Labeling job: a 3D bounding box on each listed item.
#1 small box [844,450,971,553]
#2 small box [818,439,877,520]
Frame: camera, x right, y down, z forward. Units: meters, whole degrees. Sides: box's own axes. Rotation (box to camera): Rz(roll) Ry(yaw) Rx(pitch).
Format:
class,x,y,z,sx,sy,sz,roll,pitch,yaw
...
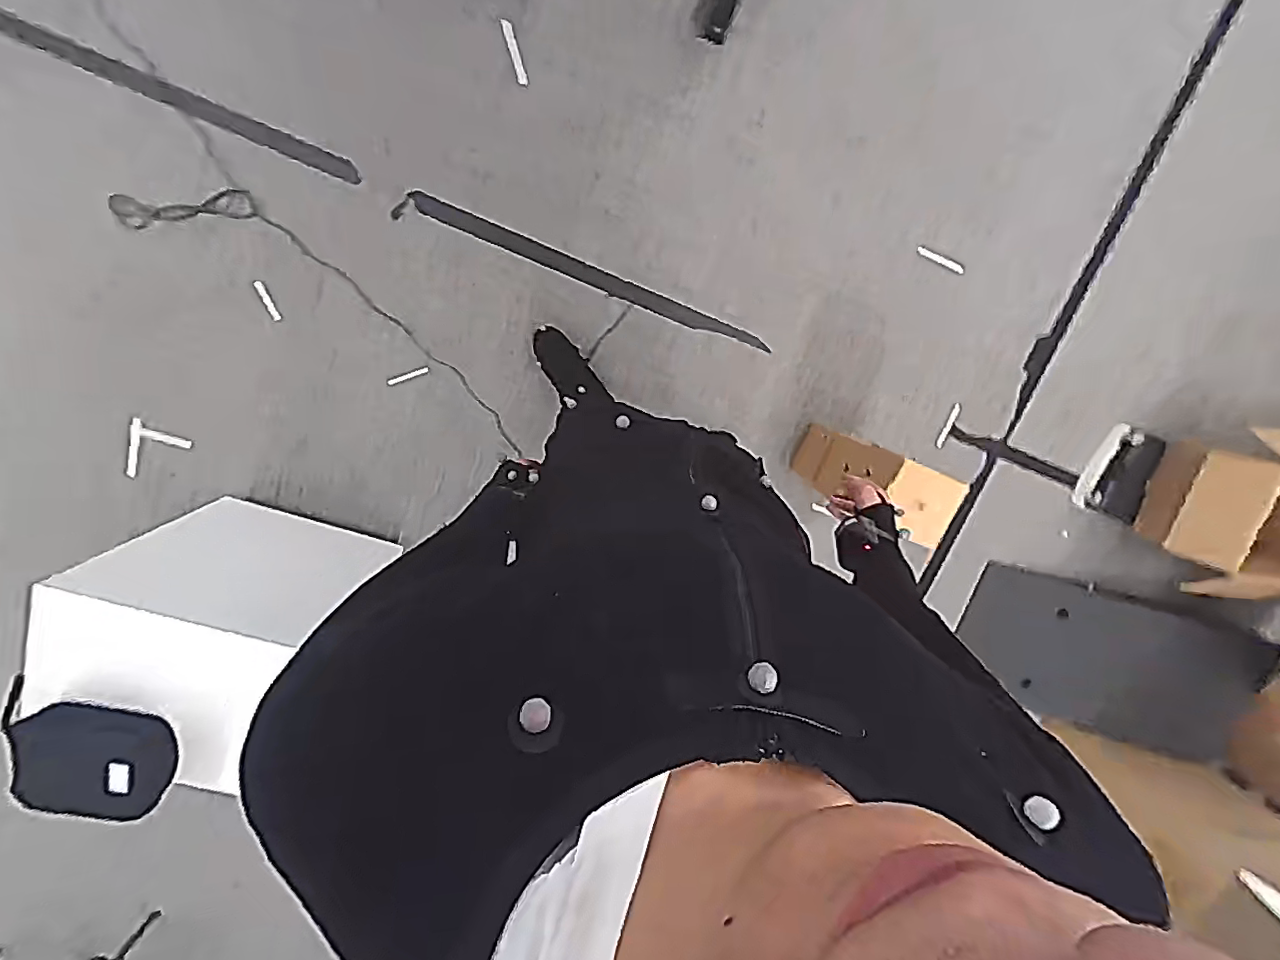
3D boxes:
class,x,y,z,sx,sy,sz,roll,pitch,yaw
small box,0.626,0.044,1.288,0.179,0.176,0.168,22,104,-10
small box,0.603,0.006,1.445,0.168,0.176,0.179,20,105,-10
